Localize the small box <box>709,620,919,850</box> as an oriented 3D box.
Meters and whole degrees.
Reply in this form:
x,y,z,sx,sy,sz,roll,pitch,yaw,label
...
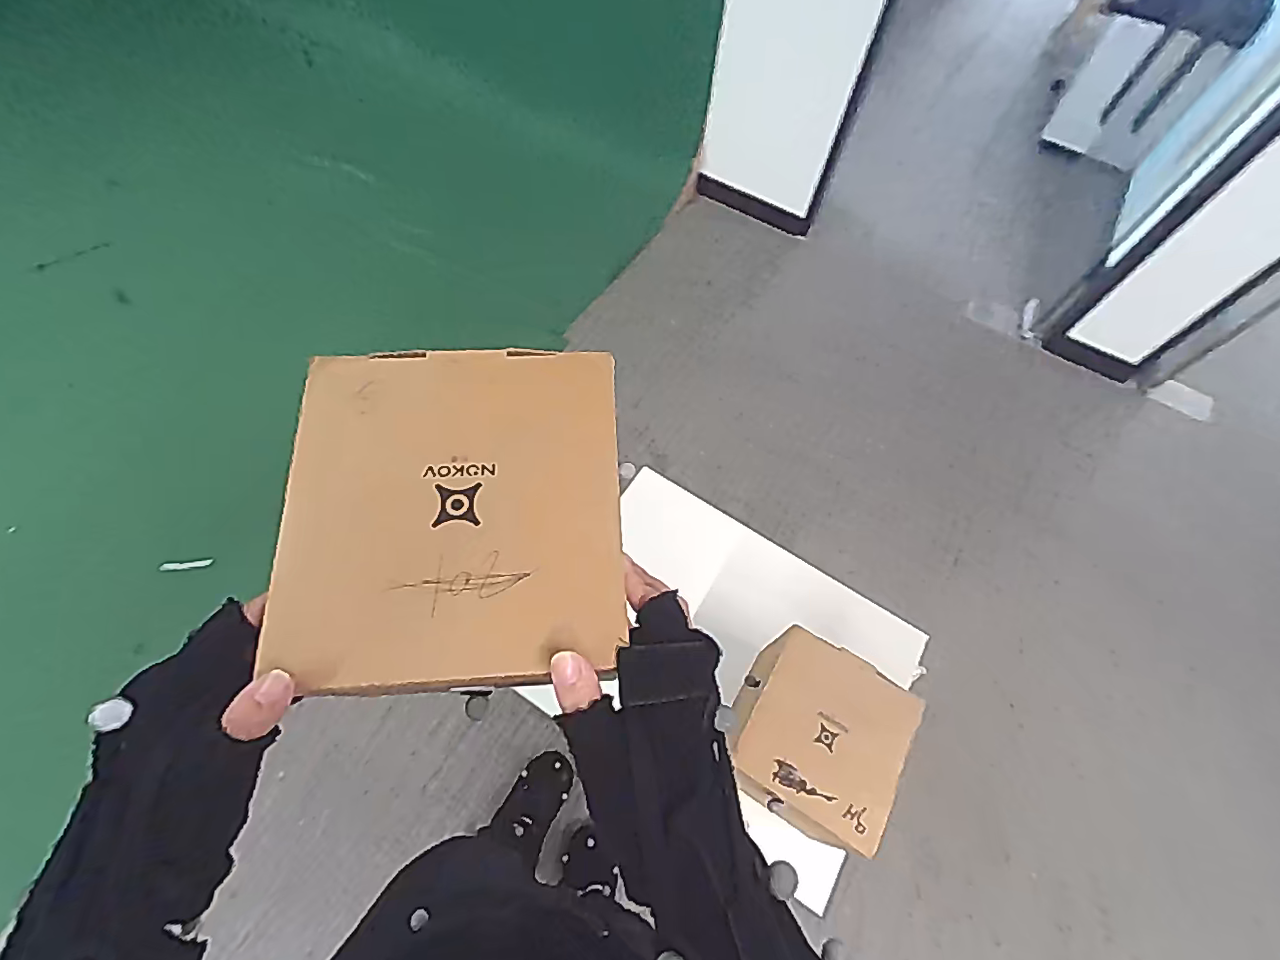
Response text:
x,y,z,sx,sy,sz,roll,pitch,yaw,label
0.200,0.305,0.661,0.168,0.176,0.179,30,64,13,small box

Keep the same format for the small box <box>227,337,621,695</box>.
x,y,z,sx,sy,sz,roll,pitch,yaw,label
-0.103,0.033,0.335,0.168,0.176,0.179,-3,69,-6,small box
